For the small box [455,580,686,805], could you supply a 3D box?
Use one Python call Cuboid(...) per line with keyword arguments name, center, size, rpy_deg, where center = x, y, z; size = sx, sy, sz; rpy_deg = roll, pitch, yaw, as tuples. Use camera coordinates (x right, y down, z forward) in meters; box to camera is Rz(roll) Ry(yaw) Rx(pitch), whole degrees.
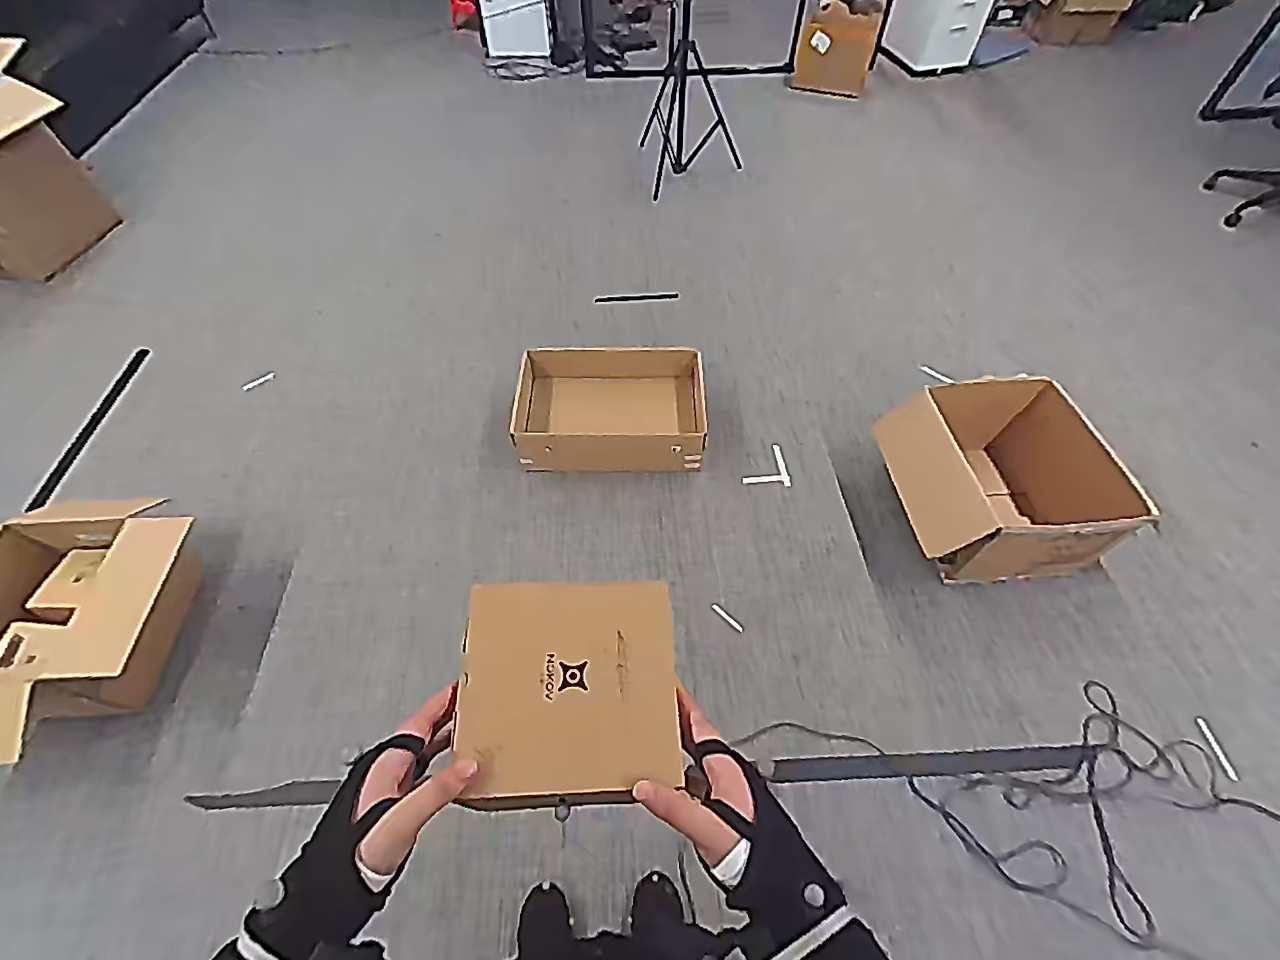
Cuboid(name="small box", center=(-0.061, 0.205, 0.512), size=(0.179, 0.176, 0.168), rpy_deg=(-1, 57, -6))
